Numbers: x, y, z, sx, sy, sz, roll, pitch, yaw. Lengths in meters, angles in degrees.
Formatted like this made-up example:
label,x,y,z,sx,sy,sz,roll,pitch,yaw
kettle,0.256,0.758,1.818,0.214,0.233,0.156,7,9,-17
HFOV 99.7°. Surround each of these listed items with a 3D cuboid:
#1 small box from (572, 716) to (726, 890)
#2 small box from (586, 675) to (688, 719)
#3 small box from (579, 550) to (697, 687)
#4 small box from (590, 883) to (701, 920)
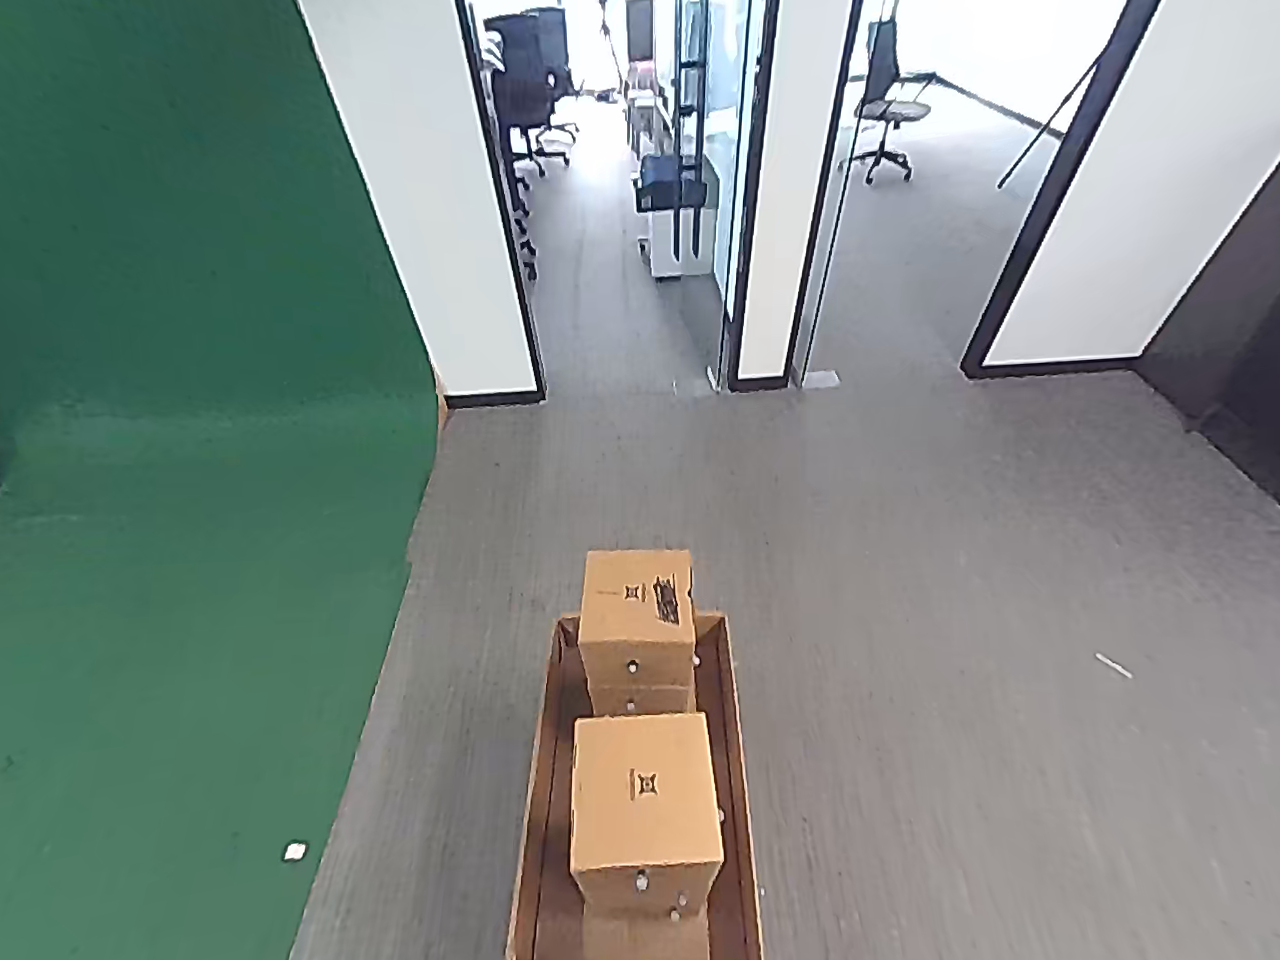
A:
label,x,y,z,sx,sy,sz,roll,pitch,yaw
small box,0.008,0.428,0.716,0.179,0.176,0.168,-3,46,-1
small box,0.001,0.348,1.026,0.179,0.176,0.168,1,48,3
small box,0.000,0.235,0.906,0.179,0.176,0.168,0,47,2
small box,0.008,0.656,0.949,0.179,0.176,0.168,-1,45,0
